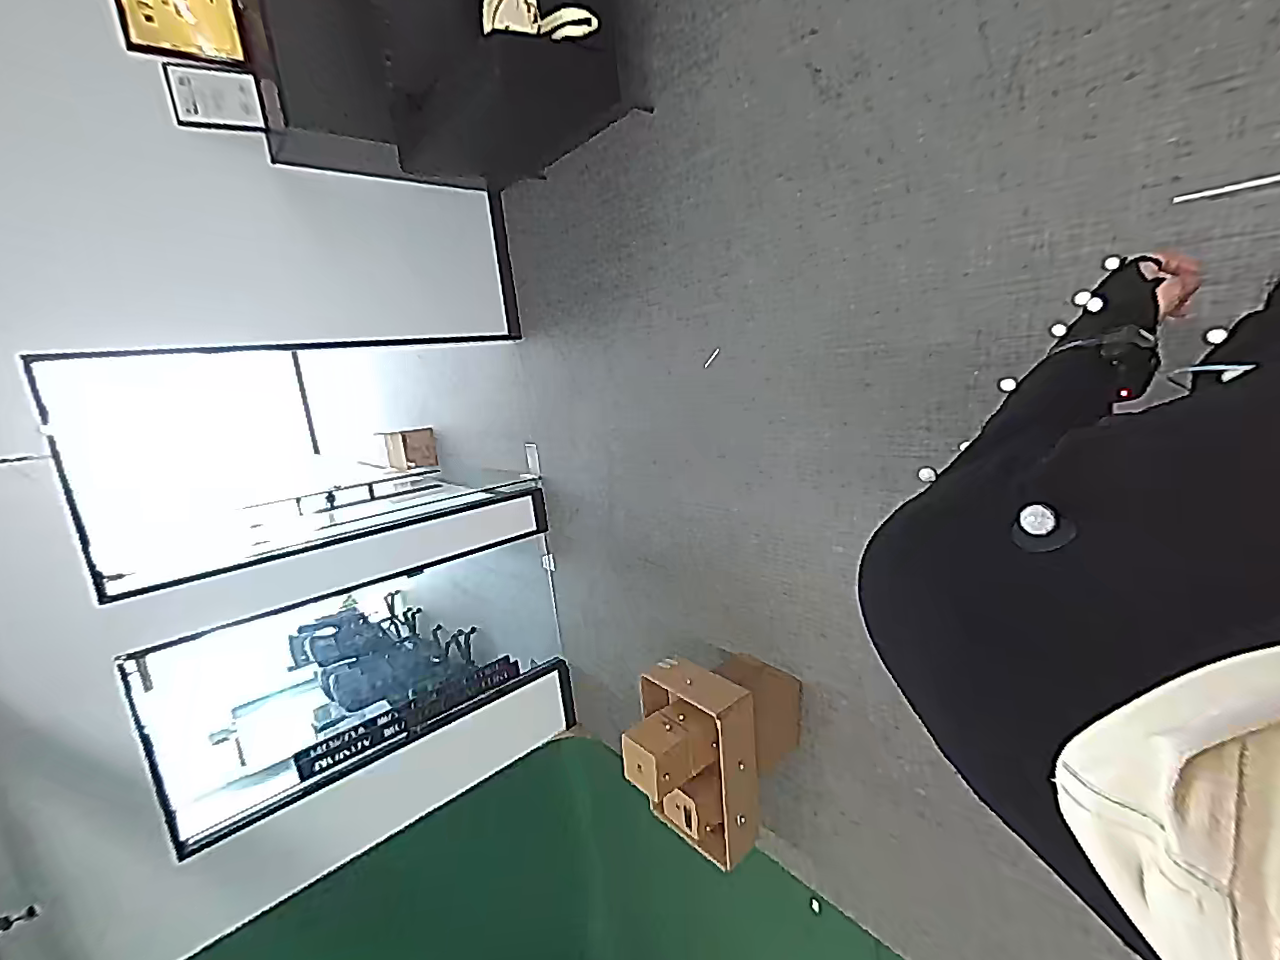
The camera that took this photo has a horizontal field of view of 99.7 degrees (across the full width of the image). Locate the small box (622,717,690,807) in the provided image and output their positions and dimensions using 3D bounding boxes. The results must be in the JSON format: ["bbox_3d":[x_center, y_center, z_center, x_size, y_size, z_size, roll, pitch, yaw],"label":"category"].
[{"bbox_3d":[0.057,0.945,1.825,0.168,0.176,0.179,10,108,46],"label":"small box"}]
